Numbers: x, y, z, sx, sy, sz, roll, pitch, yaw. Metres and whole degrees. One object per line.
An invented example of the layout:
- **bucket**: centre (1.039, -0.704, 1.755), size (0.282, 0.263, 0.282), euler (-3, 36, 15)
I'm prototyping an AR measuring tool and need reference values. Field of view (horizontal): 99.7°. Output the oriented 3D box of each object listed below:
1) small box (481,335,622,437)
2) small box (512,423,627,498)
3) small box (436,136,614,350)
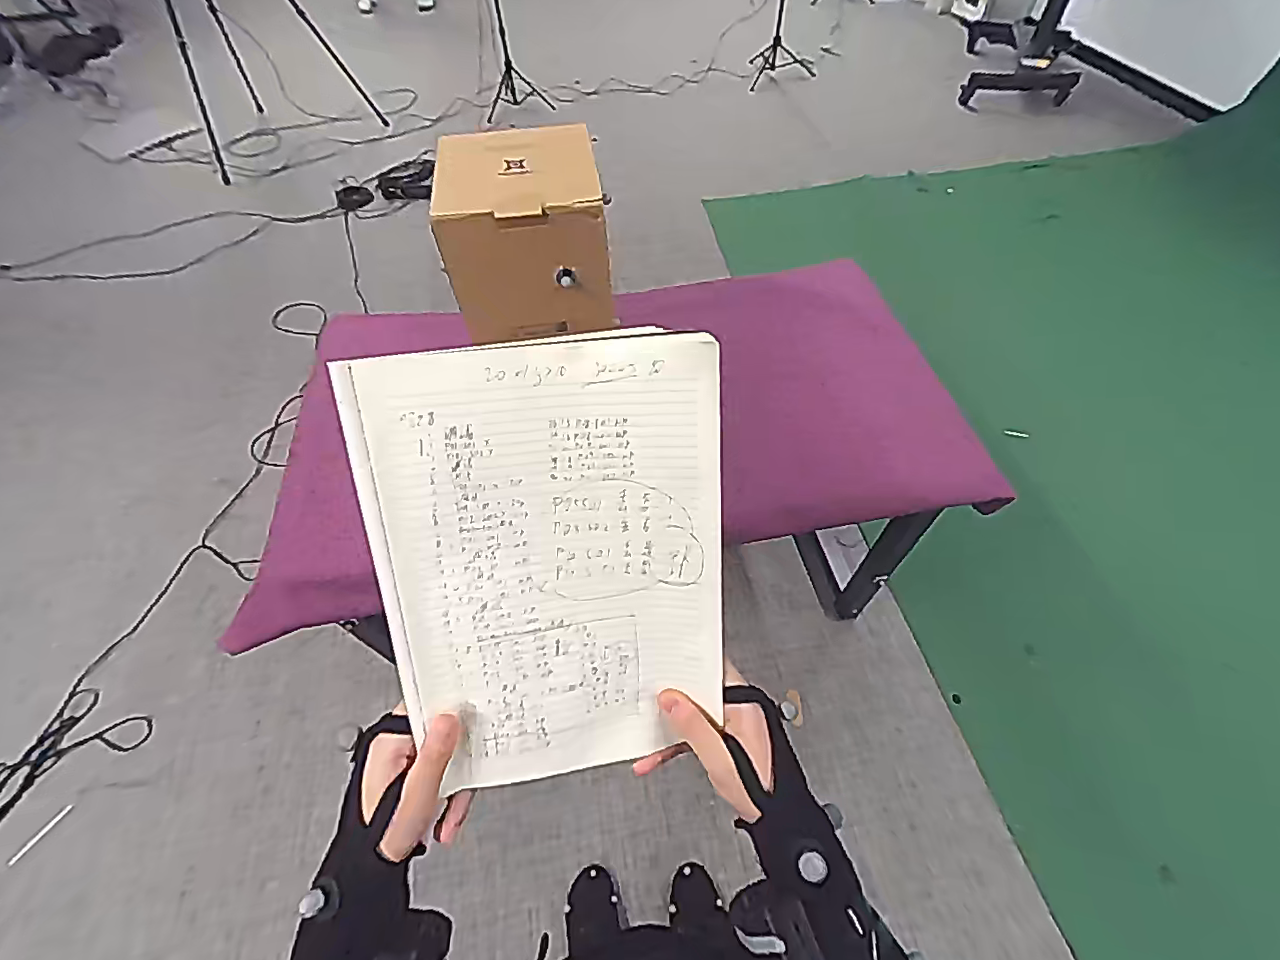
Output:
- **small box**: centre (-0.119, -0.175, 0.765), size (0.168, 0.176, 0.179), euler (-8, 53, -4)
- **small box**: centre (-0.116, -0.084, 0.902), size (0.168, 0.176, 0.179), euler (-8, 55, -4)
- **small box**: centre (-0.123, -0.267, 0.630), size (0.168, 0.176, 0.179), euler (-7, 54, -4)
